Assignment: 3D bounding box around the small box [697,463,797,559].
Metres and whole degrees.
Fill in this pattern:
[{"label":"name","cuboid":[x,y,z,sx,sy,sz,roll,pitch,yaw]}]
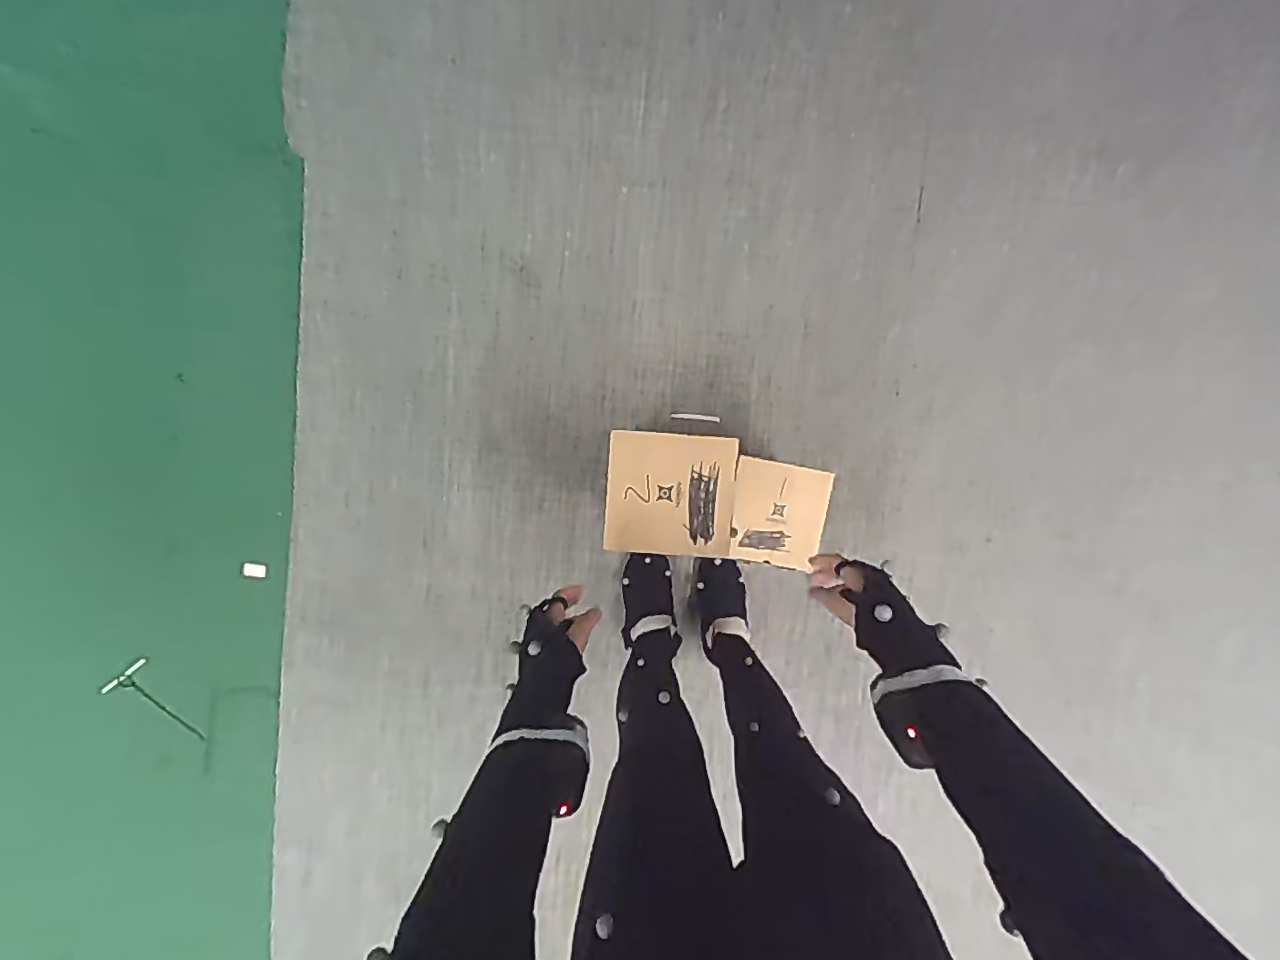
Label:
[{"label":"small box","cuboid":[0.218,0.058,1.143,0.168,0.176,0.179,5,94,-2]}]
